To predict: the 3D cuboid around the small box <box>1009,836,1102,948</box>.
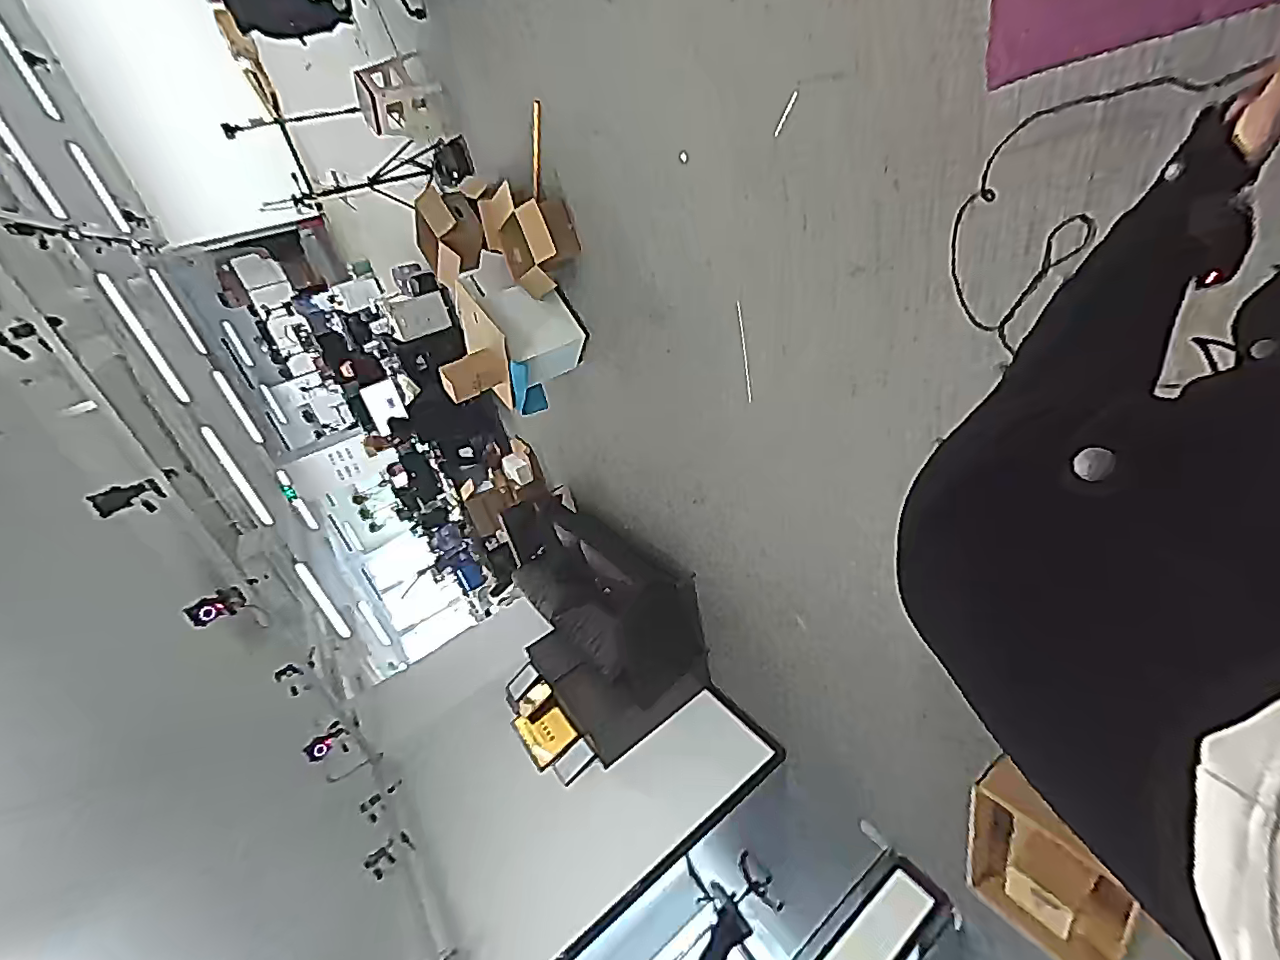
[{"bbox_3d":[1.231,1.211,1.602,0.168,0.176,0.179,26,139,51],"label":"small box"}]
